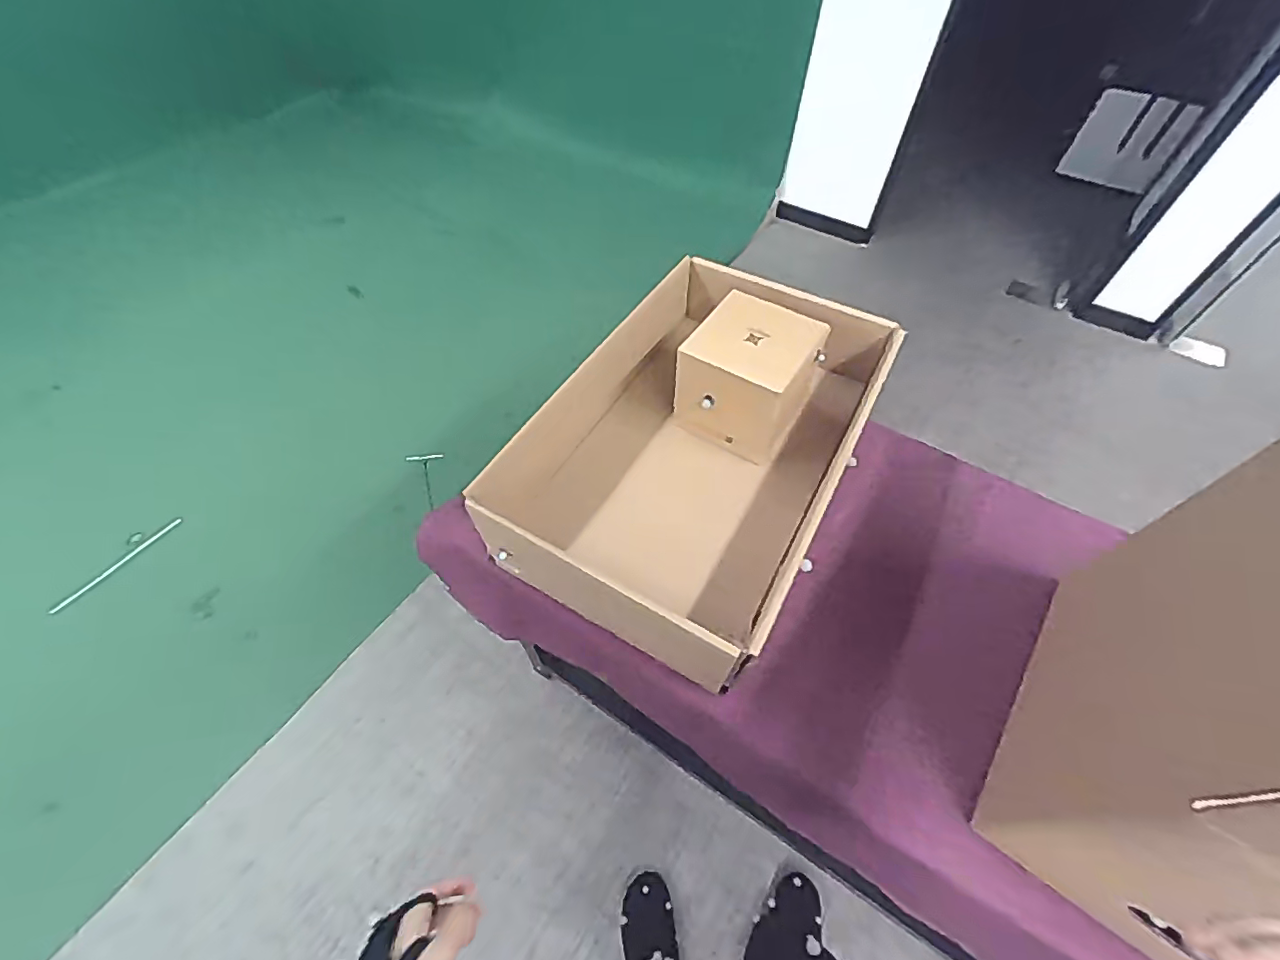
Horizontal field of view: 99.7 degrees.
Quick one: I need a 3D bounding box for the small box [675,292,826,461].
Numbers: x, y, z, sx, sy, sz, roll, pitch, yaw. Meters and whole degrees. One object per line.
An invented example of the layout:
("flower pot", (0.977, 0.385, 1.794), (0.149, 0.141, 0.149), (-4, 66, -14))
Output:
("small box", (0.169, -0.161, 0.864), (0.168, 0.176, 0.179), (28, 59, 19))
